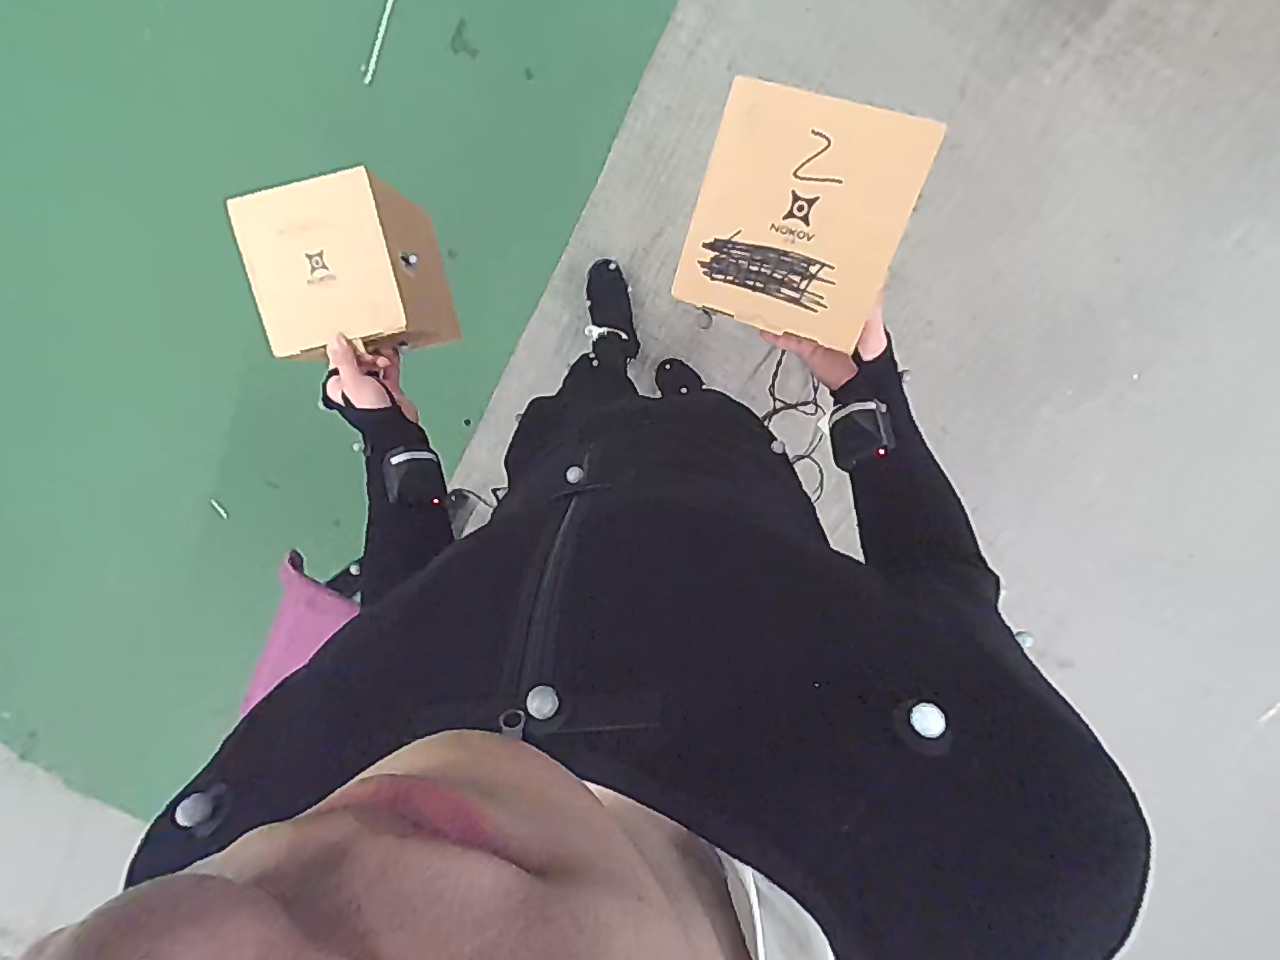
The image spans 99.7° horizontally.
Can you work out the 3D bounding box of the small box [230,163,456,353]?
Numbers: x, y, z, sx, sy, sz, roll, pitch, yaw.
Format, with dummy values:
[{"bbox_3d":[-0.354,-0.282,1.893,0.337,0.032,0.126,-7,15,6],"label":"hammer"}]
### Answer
[{"bbox_3d":[-0.351,-0.260,0.680,0.168,0.176,0.179,-10,100,4],"label":"small box"}]
